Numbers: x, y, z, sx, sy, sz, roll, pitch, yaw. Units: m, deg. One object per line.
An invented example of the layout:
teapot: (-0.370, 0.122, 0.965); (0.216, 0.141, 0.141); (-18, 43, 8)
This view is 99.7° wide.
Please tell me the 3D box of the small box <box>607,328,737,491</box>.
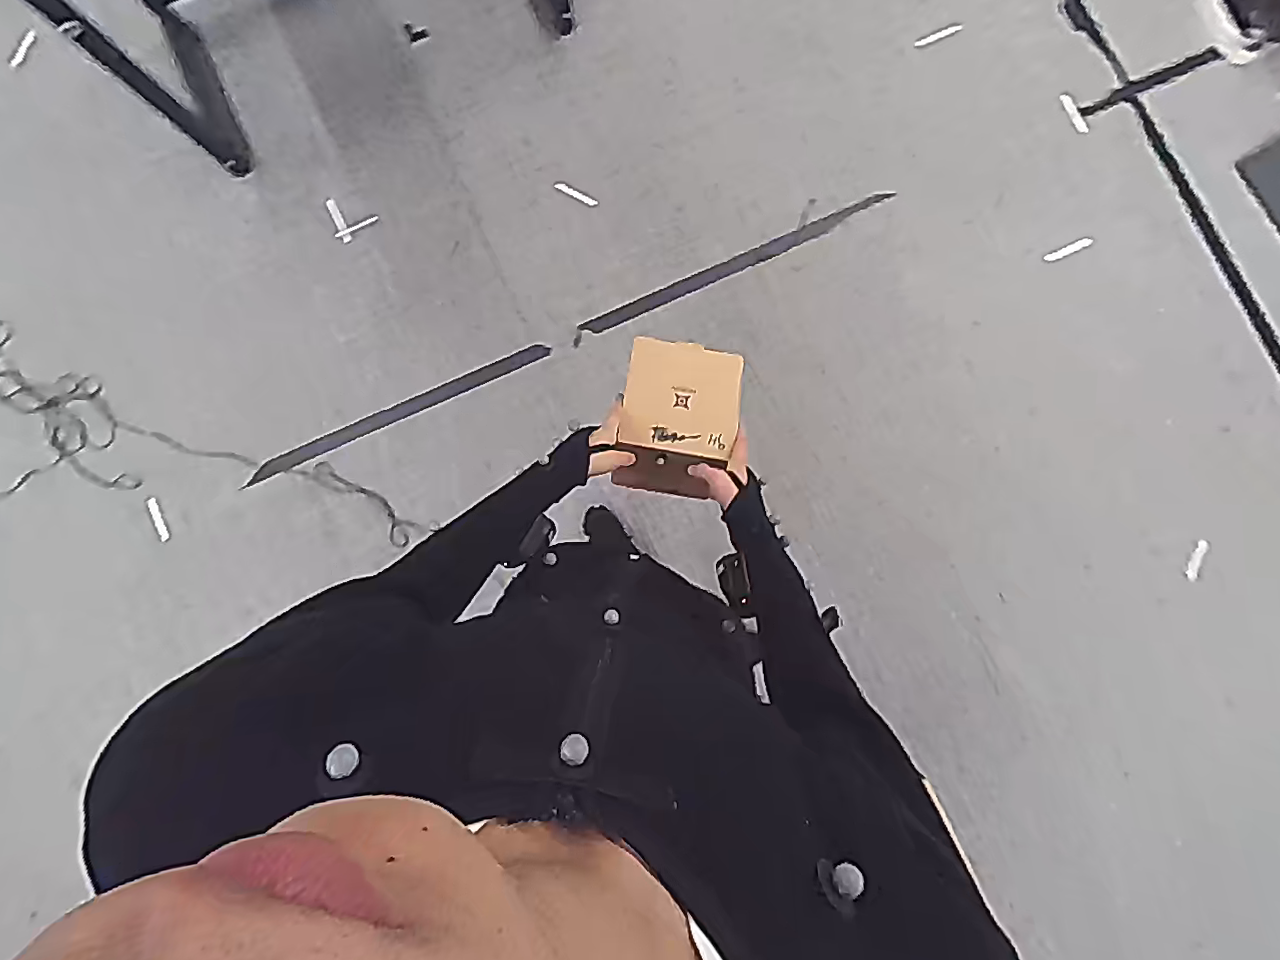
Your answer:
small box: (0.043, -0.100, 0.830); (0.168, 0.176, 0.179); (9, 69, -3)
